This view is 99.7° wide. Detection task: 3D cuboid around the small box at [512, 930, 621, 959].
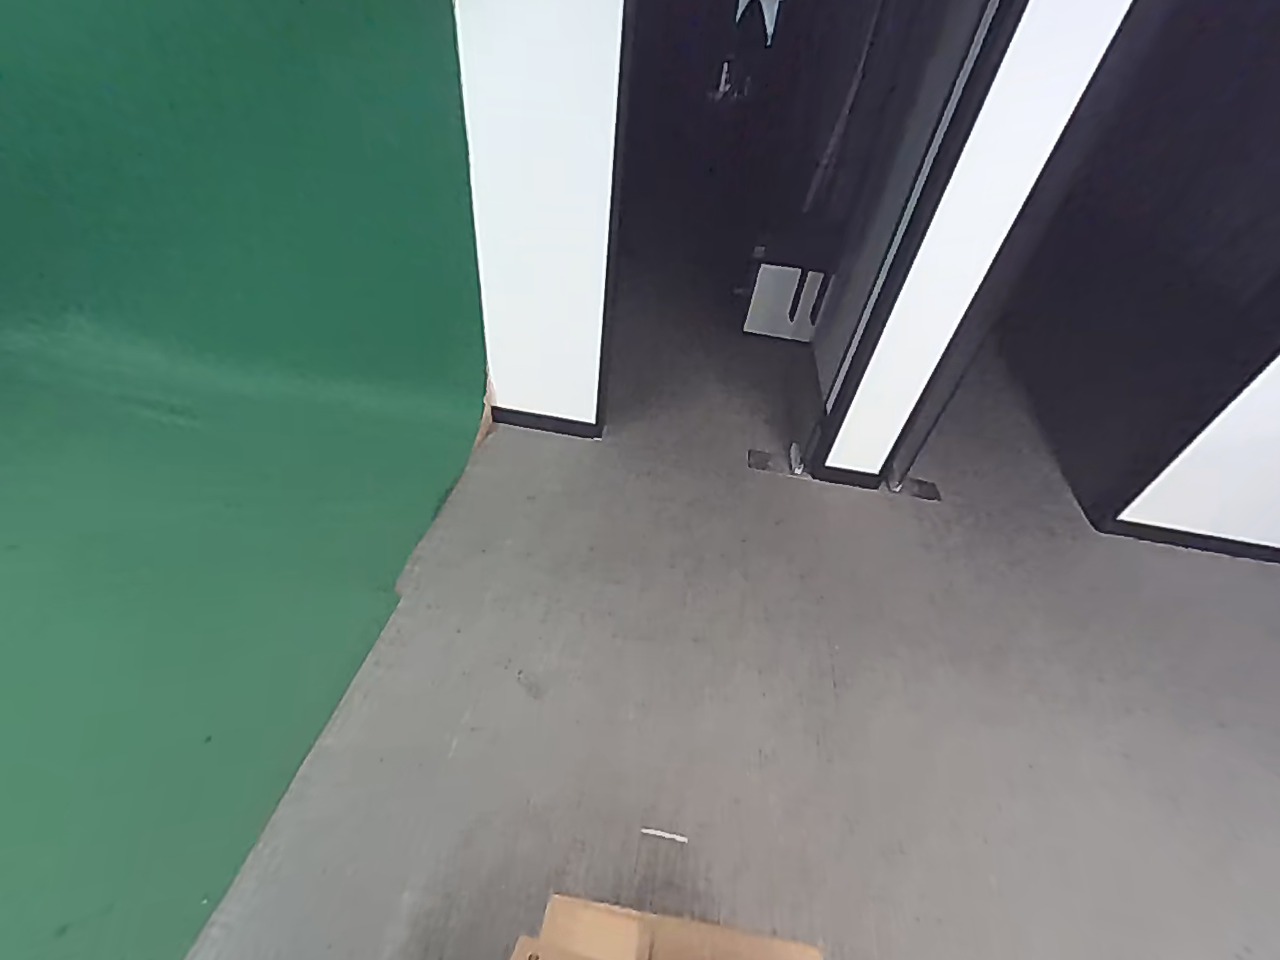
[{"bbox_3d":[-0.068,0.572,0.480,0.168,0.176,0.179,10,12,8],"label":"small box"}]
